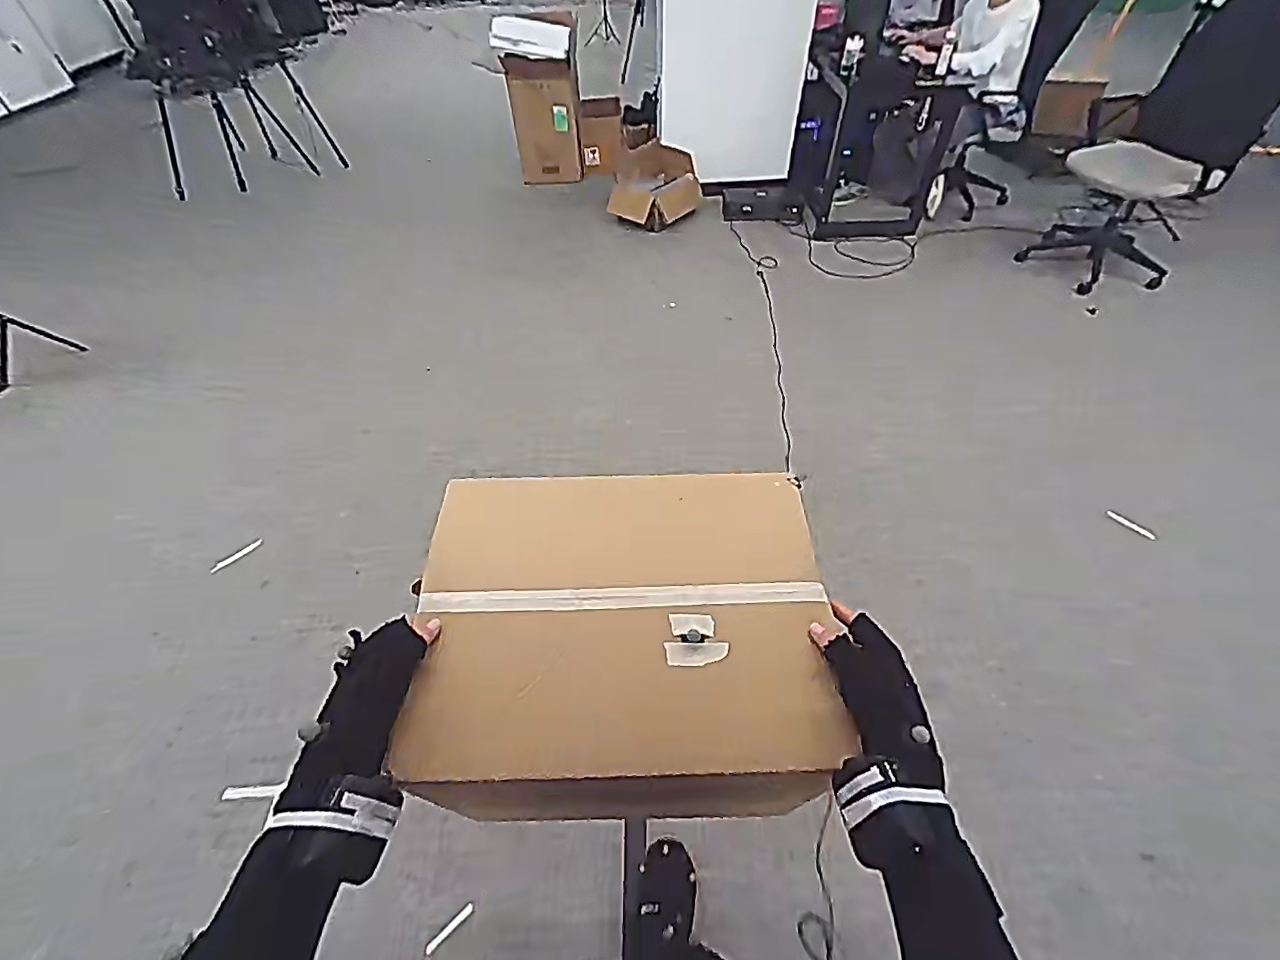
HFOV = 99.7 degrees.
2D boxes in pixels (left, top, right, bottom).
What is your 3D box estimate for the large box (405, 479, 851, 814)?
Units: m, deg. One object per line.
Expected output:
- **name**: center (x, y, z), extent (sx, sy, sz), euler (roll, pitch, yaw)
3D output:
- **large box**: center (-0.017, 0.215, 0.681), extent (0.408, 0.320, 0.320), euler (-1, 53, -1)
